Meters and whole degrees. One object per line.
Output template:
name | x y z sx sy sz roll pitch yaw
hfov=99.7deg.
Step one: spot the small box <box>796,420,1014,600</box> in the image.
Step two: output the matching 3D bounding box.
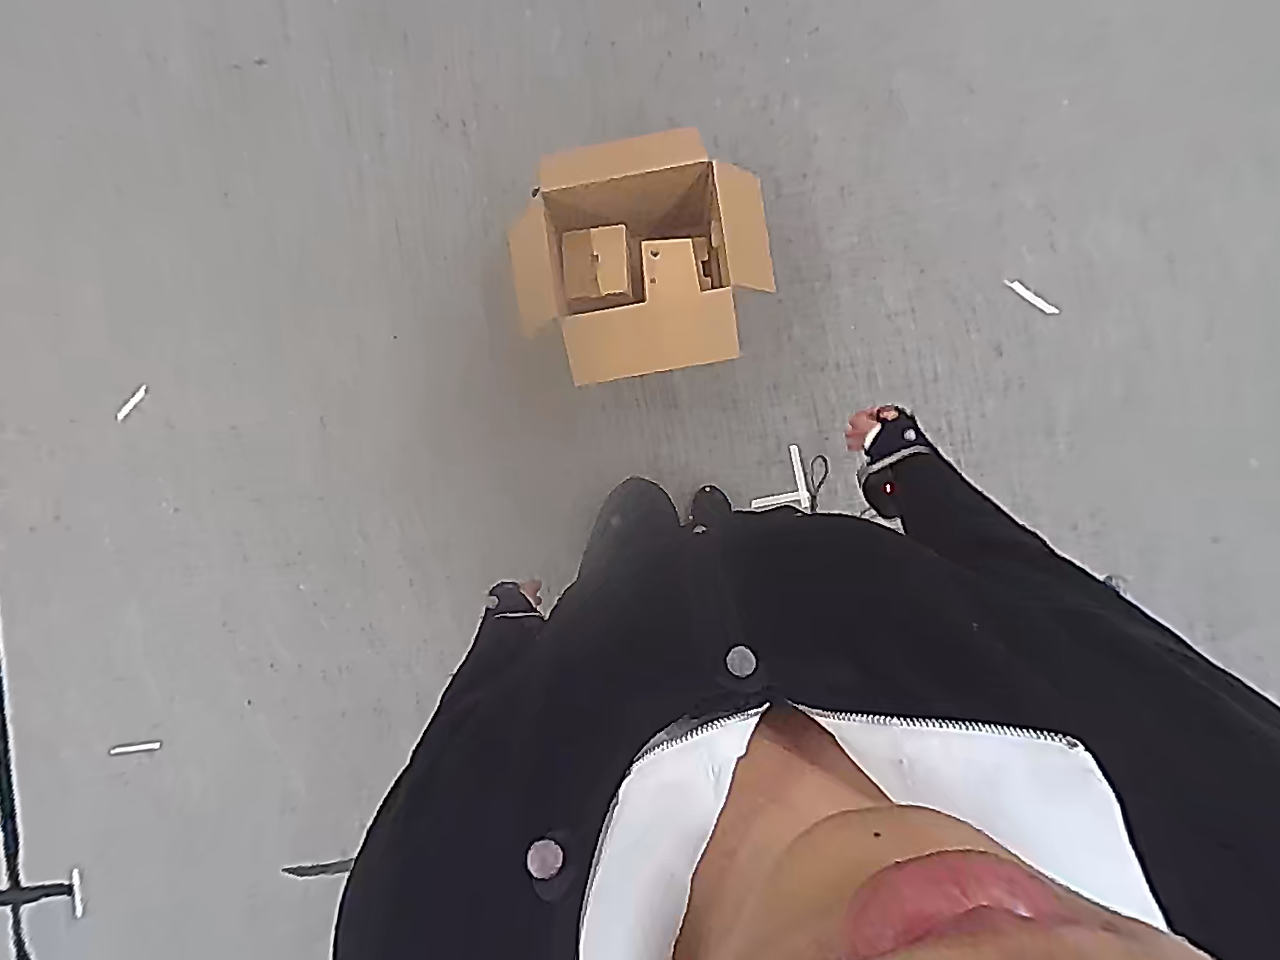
small box | 0.272 0.029 0.587 0.179 0.176 0.168 -6 90 12
